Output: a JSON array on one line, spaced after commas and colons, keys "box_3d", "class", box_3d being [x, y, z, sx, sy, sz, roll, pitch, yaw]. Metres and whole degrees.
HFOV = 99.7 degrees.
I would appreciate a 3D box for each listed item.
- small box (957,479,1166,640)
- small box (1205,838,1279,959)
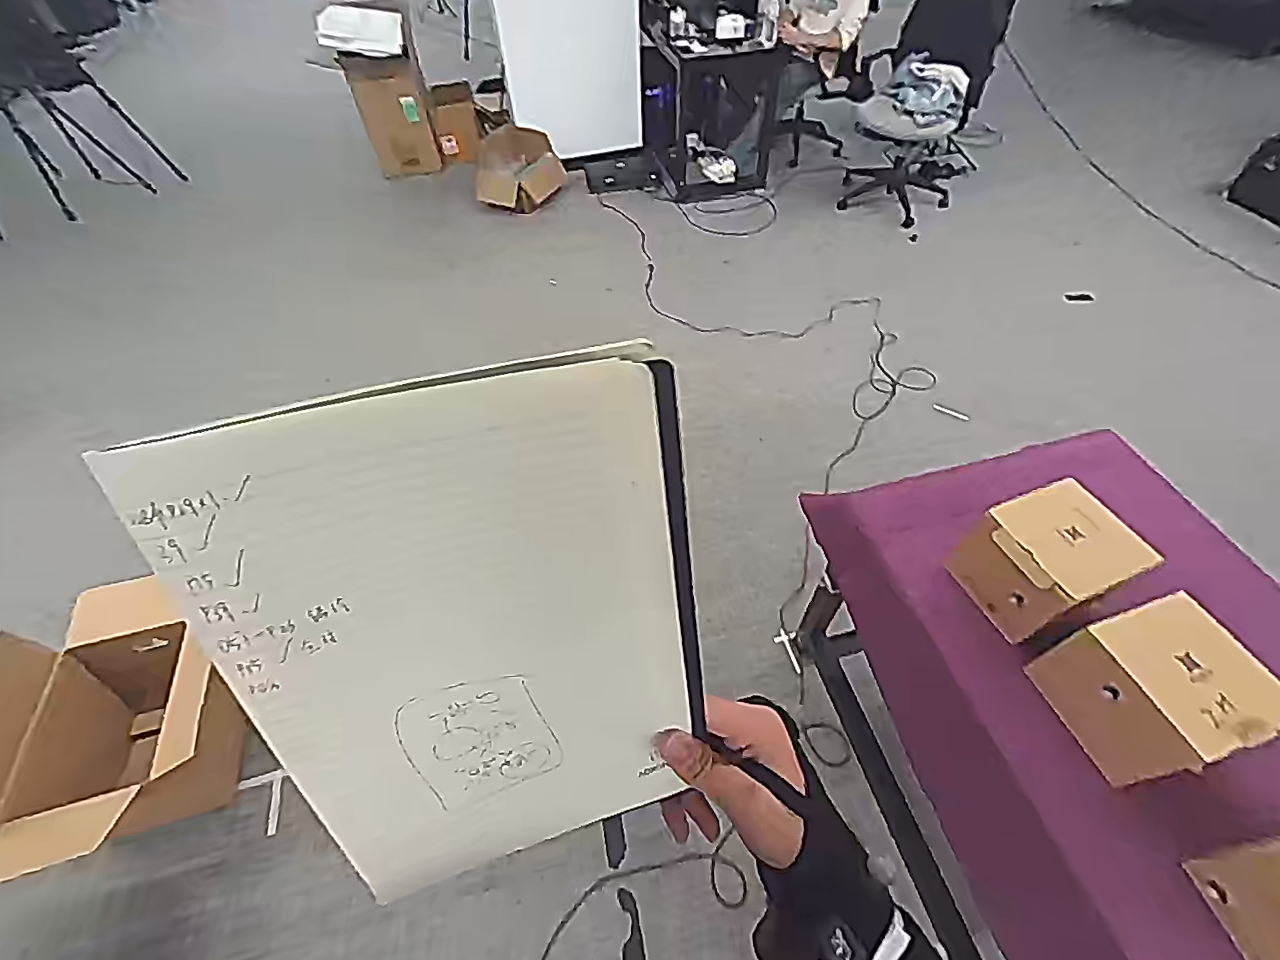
[{"box_3d": [0.647, 0.131, 0.863, 0.179, 0.176, 0.168, -18, 54, -11], "class": "small box"}, {"box_3d": [0.786, 0.484, 0.581, 0.179, 0.176, 0.168, -9, 52, -5], "class": "small box"}]
